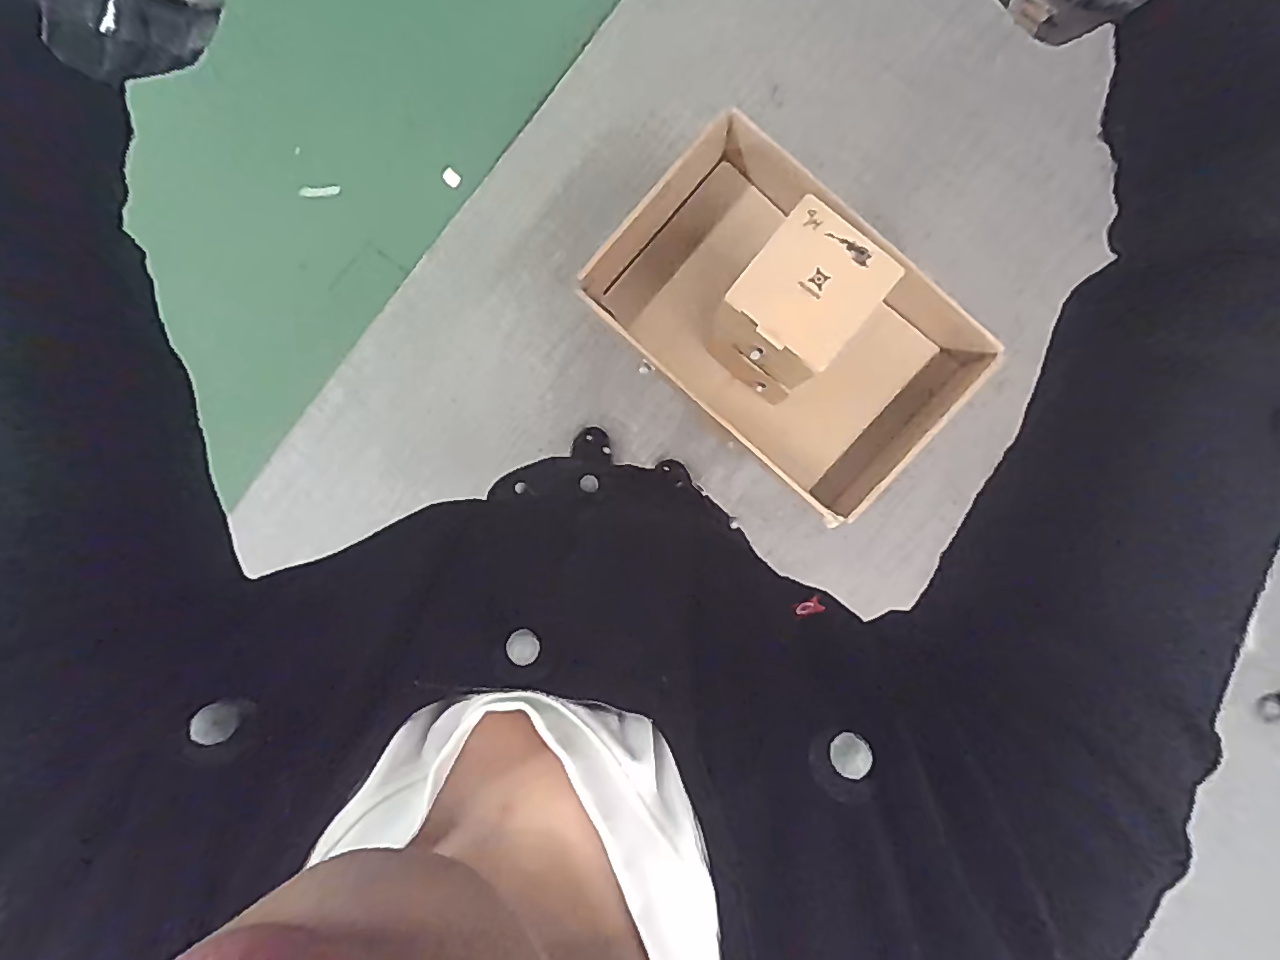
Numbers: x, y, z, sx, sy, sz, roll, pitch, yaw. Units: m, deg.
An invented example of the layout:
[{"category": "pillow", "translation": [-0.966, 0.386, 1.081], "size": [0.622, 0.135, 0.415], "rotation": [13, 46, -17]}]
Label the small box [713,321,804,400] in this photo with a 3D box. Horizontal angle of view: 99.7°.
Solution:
[{"category": "small box", "translation": [0.244, -0.261, 0.951], "size": [0.168, 0.176, 0.179], "rotation": [40, 92, 0]}]

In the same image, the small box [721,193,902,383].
[{"category": "small box", "translation": [0.232, -0.261, 0.788], "size": [0.168, 0.176, 0.179], "rotation": [40, 95, 0]}]
